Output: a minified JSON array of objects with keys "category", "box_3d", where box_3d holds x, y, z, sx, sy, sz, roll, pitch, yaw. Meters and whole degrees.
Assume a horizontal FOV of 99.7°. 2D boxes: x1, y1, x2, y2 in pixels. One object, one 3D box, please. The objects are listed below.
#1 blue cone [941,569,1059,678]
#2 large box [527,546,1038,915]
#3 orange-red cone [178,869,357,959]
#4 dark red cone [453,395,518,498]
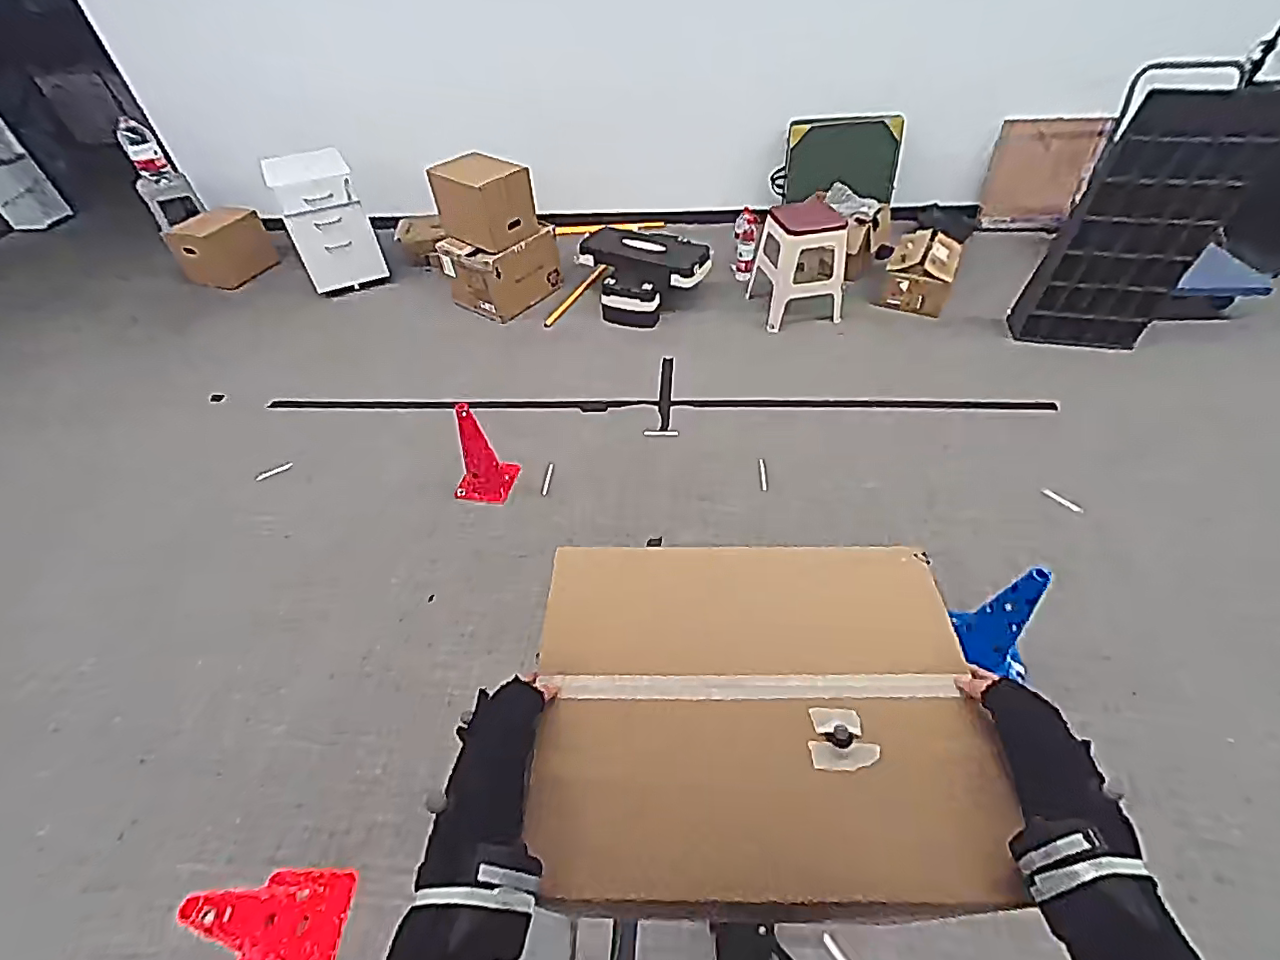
[{"category":"blue cone","box_3d":[0.953,0.348,1.398,0.192,0.380,0.193,4,47,6]},{"category":"large box","box_3d":[0.109,0.290,0.622,0.408,0.320,0.320,0,49,1]},{"category":"orange-red cone","box_3d":[-0.727,0.829,1.014,0.198,0.360,0.199,-1,48,3]},{"category":"dark red cone","box_3d":[-0.574,-0.127,1.882,0.201,0.394,0.202,6,47,7]}]
